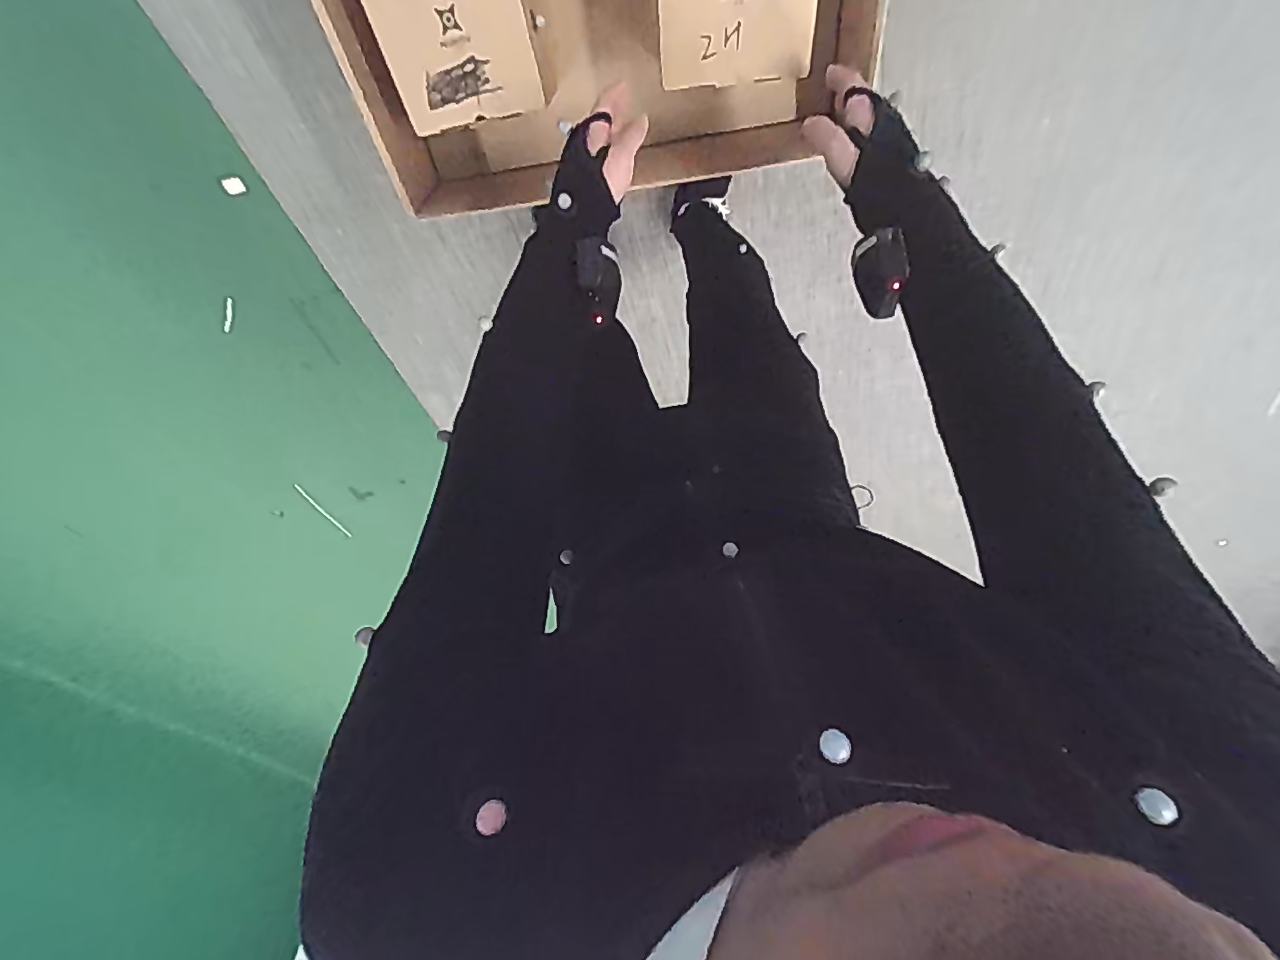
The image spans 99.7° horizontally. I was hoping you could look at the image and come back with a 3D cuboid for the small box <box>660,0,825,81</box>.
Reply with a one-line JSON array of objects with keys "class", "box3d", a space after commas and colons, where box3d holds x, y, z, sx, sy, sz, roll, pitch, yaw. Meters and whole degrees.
[{"class": "small box", "box3d": [0.105, -0.562, 0.587, 0.168, 0.176, 0.179, -2, 137, 4]}]
